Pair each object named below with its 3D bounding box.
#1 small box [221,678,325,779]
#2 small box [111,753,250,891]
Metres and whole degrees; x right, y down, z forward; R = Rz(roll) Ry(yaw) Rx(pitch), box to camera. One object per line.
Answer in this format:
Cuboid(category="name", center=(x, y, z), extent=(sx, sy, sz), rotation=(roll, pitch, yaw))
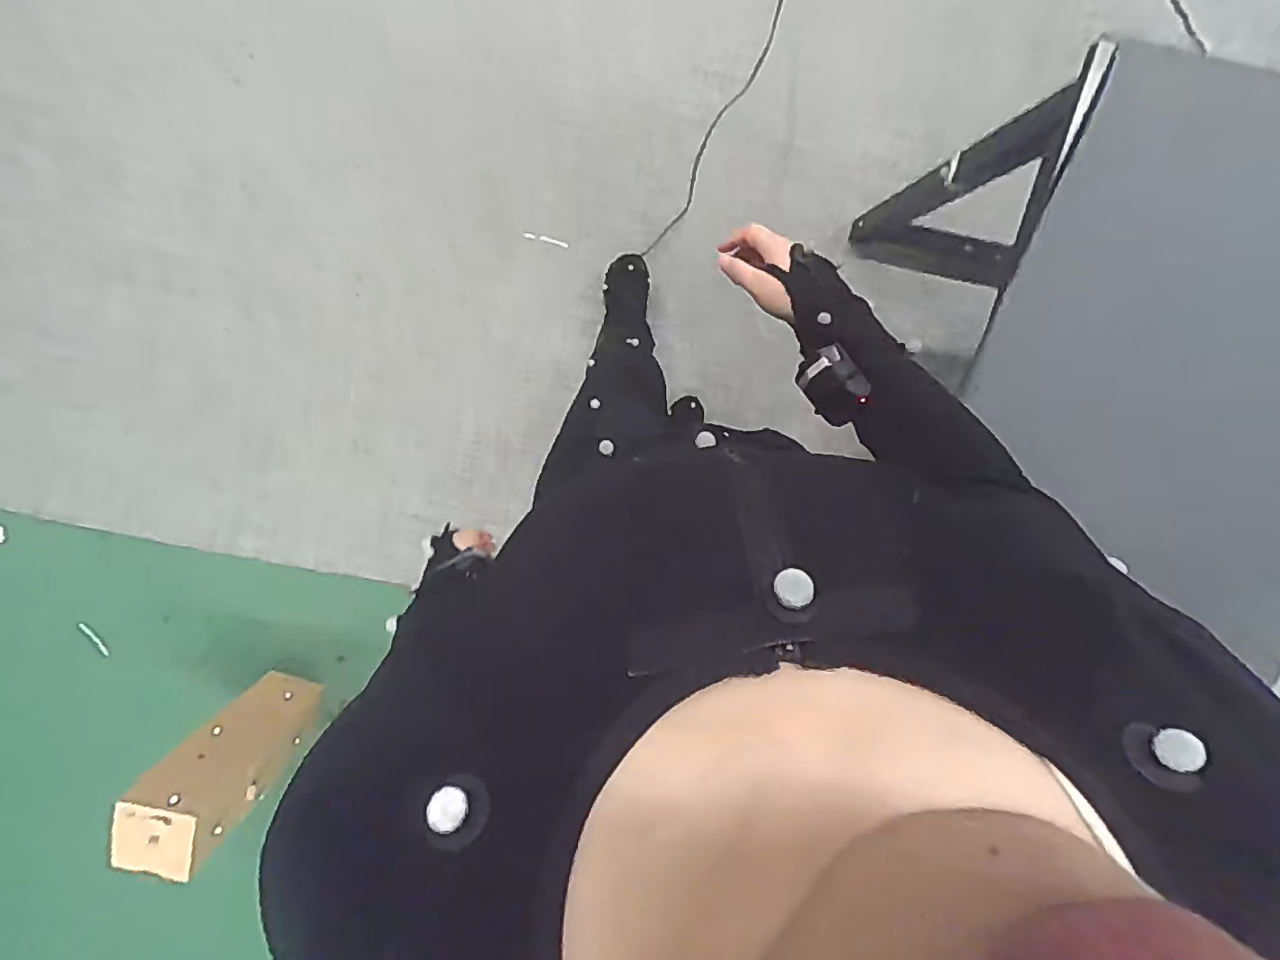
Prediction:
Cuboid(category="small box", center=(-1.023, 0.691, 1.521), extent=(0.168, 0.176, 0.179), rotation=(19, 101, -5))
Cuboid(category="small box", center=(-1.008, 0.750, 1.198), extent=(0.168, 0.176, 0.179), rotation=(15, 102, -3))
